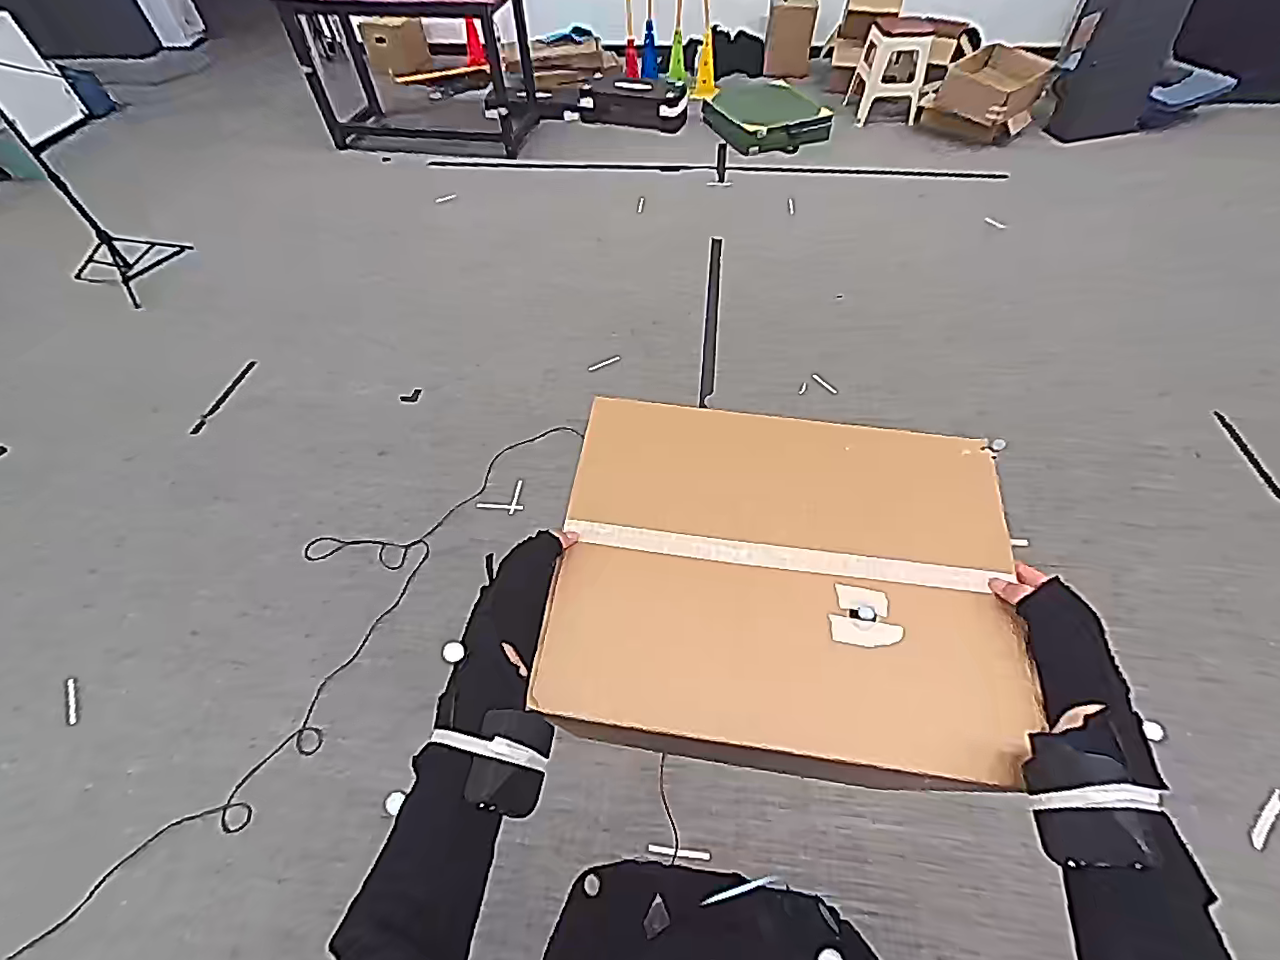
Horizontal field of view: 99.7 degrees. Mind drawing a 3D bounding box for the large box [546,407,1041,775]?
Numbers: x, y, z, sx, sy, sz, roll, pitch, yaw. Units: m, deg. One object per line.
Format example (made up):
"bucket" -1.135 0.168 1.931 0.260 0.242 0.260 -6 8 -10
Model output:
"large box" 0.134 0.145 0.631 0.408 0.320 0.320 7 62 4
